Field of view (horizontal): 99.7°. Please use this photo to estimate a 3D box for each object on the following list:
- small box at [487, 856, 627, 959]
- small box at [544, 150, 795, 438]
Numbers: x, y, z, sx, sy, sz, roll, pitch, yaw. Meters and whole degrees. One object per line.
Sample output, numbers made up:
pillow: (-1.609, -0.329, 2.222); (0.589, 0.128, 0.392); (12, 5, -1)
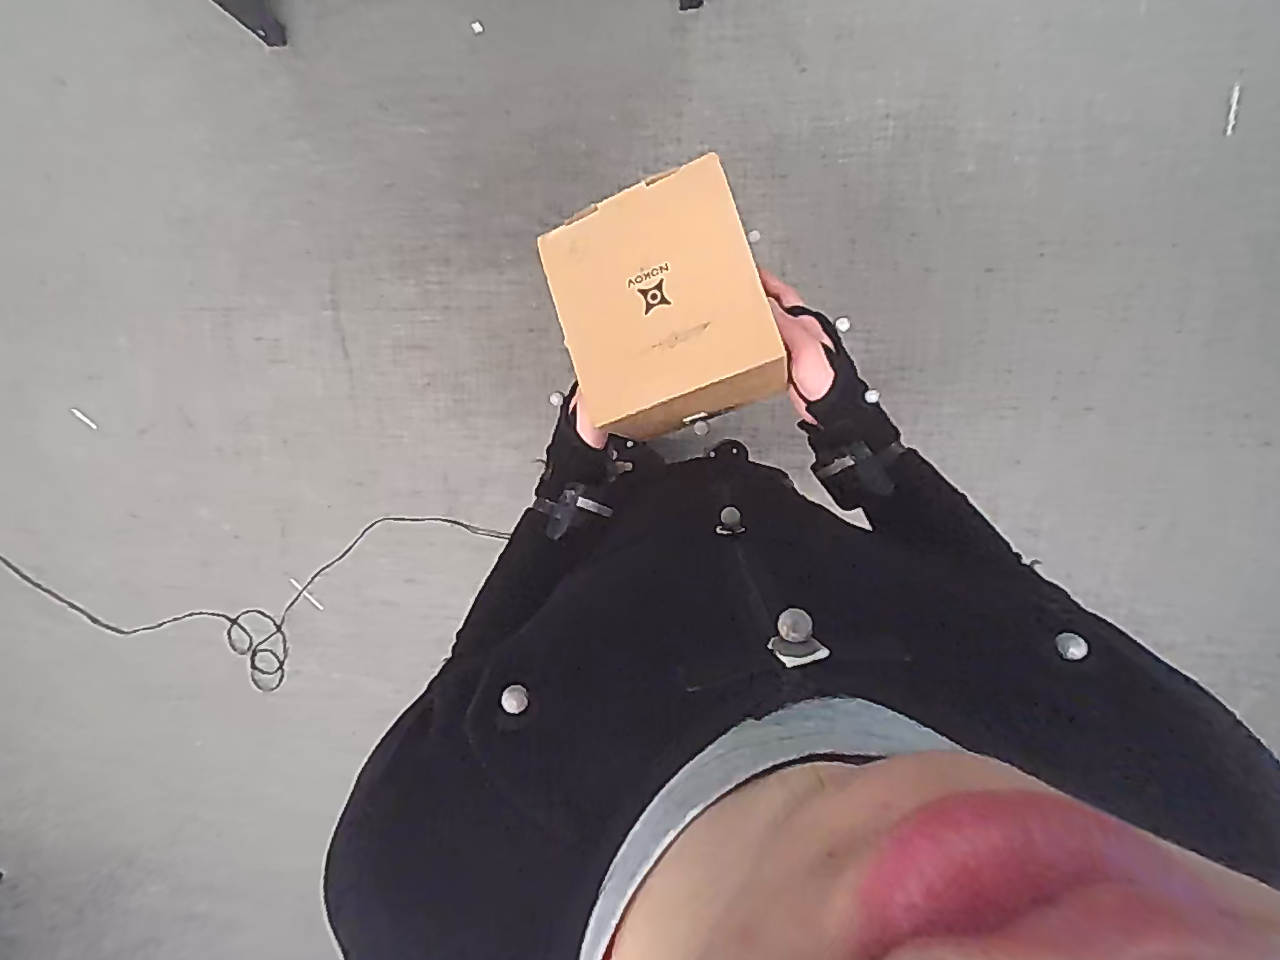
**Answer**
small box: (-0.117, 0.715, 0.829); (0.168, 0.176, 0.179); (-6, 100, 6)
small box: (0.037, -0.151, 0.509); (0.168, 0.176, 0.179); (-19, 84, 15)
